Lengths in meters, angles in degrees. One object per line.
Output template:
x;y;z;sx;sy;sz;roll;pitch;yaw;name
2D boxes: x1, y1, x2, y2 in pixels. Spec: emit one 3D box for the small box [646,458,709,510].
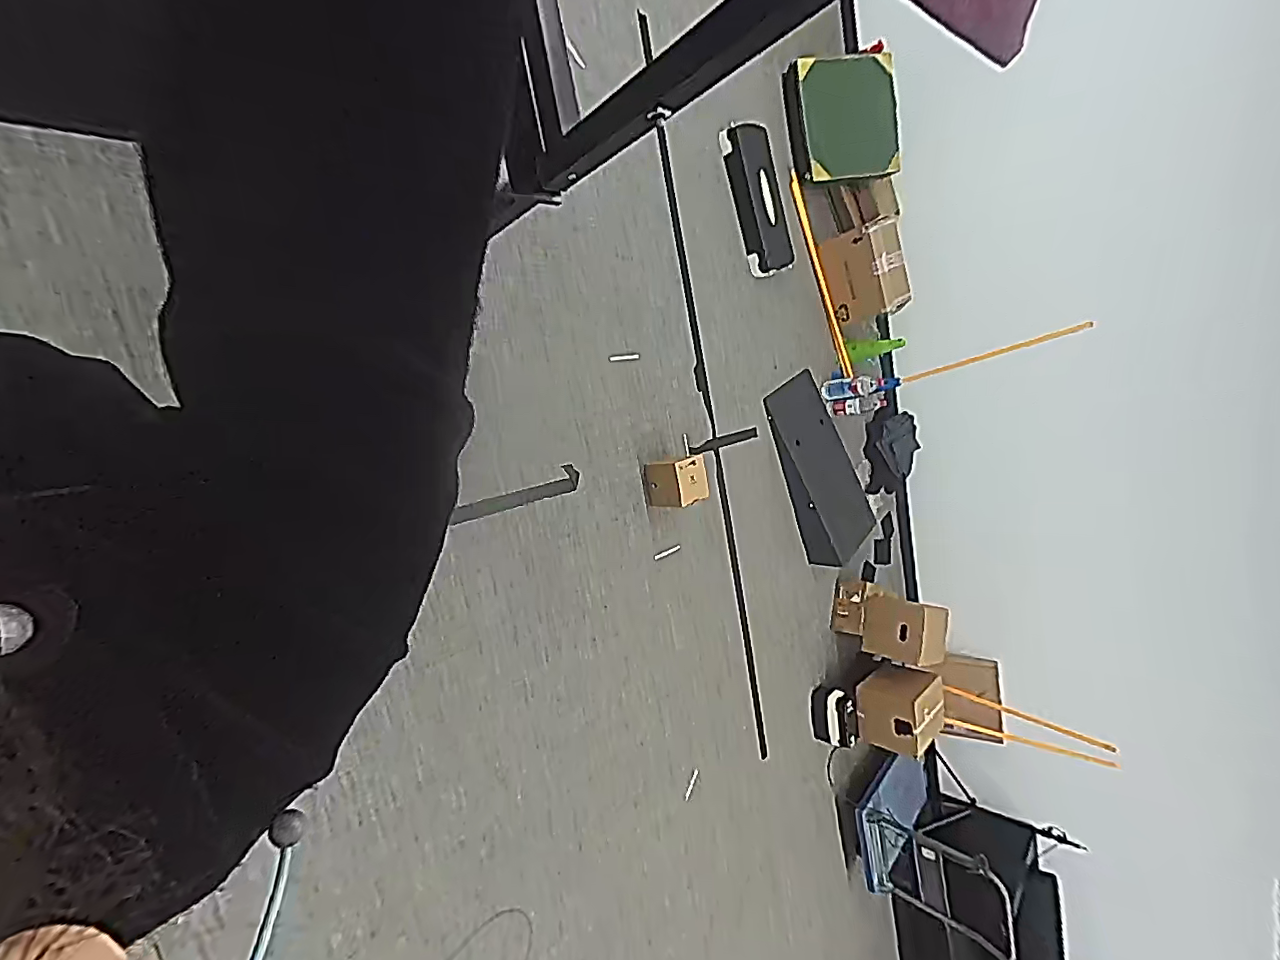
0.146;0.011;2.130;0.168;0.176;0.179;-18;103;-42;small box
